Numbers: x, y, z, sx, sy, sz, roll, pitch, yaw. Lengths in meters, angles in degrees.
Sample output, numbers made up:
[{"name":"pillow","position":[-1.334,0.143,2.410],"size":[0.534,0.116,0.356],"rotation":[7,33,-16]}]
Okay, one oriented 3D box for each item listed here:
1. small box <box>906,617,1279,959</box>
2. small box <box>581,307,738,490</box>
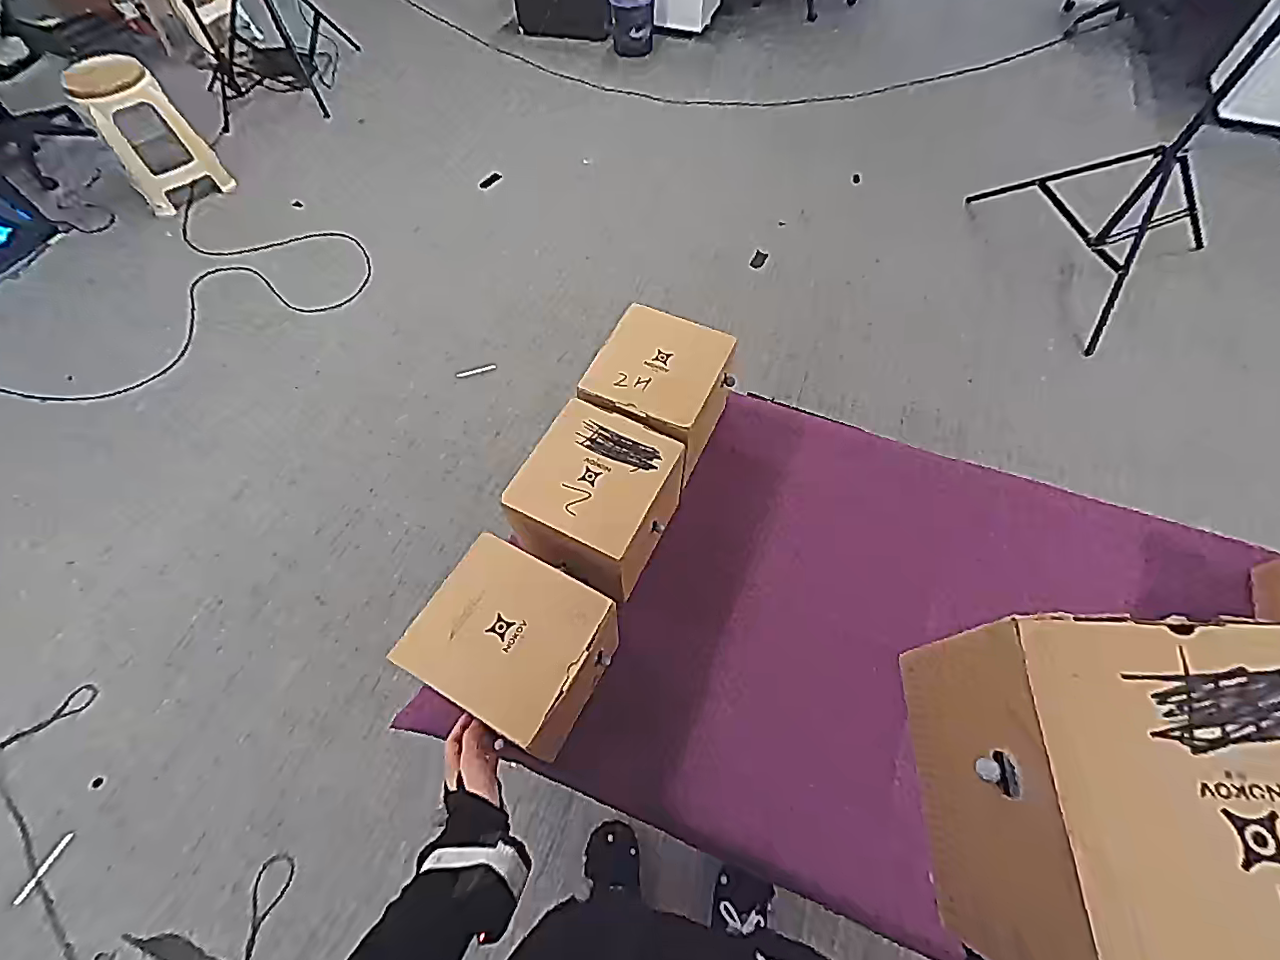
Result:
[{"name":"small box","position":[0.279,0.187,0.319],"size":[0.168,0.176,0.179],"rotation":[0,66,4]},{"name":"small box","position":[0.029,-0.117,0.807],"size":[0.168,0.176,0.179],"rotation":[22,63,13]}]
